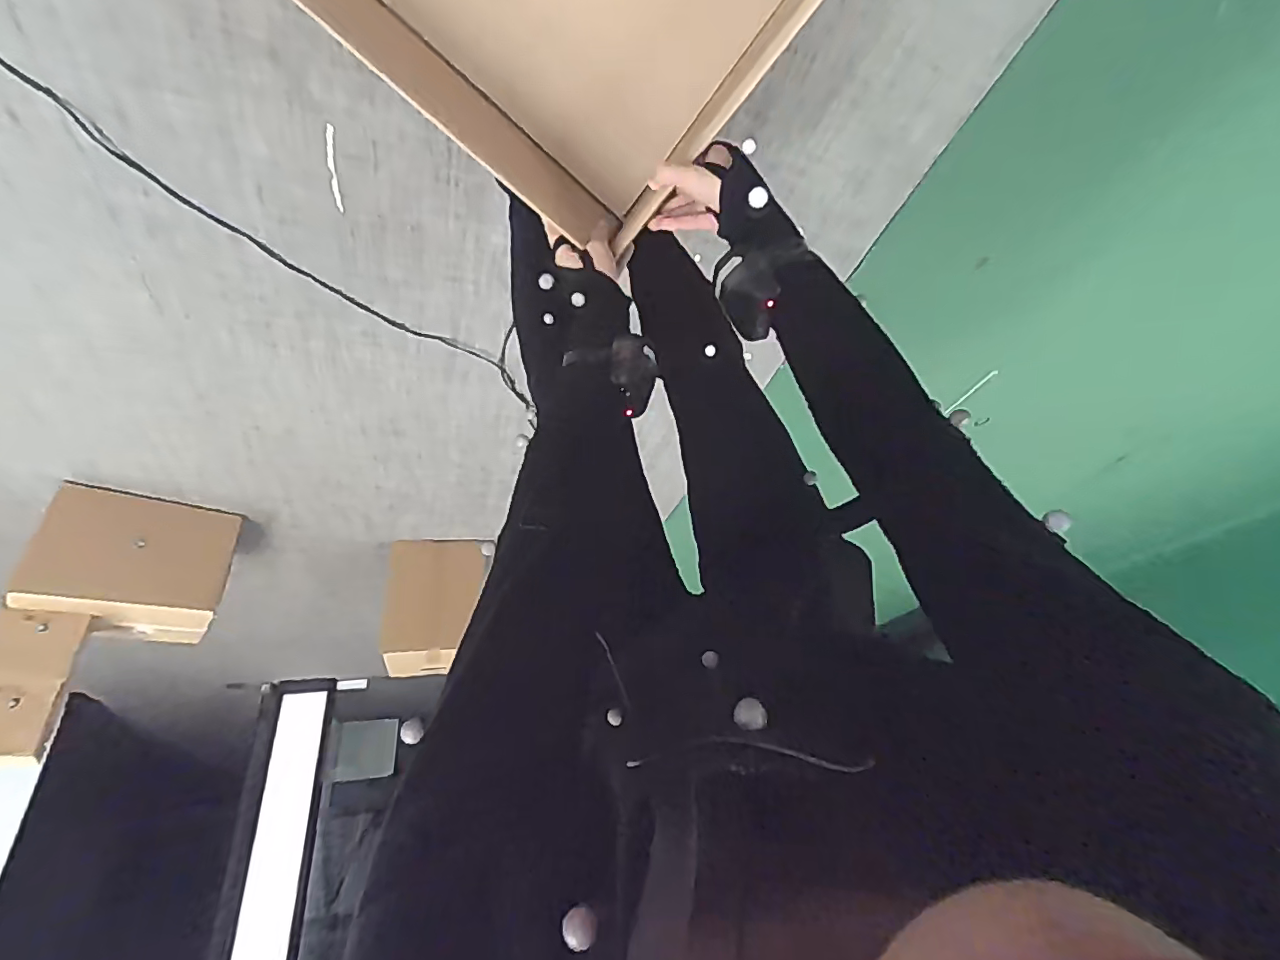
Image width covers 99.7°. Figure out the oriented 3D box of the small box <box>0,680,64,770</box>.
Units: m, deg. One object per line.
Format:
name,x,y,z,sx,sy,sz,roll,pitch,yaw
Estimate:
small box,-1.495,0.573,1.261,0.168,0.176,0.179,17,140,-35
